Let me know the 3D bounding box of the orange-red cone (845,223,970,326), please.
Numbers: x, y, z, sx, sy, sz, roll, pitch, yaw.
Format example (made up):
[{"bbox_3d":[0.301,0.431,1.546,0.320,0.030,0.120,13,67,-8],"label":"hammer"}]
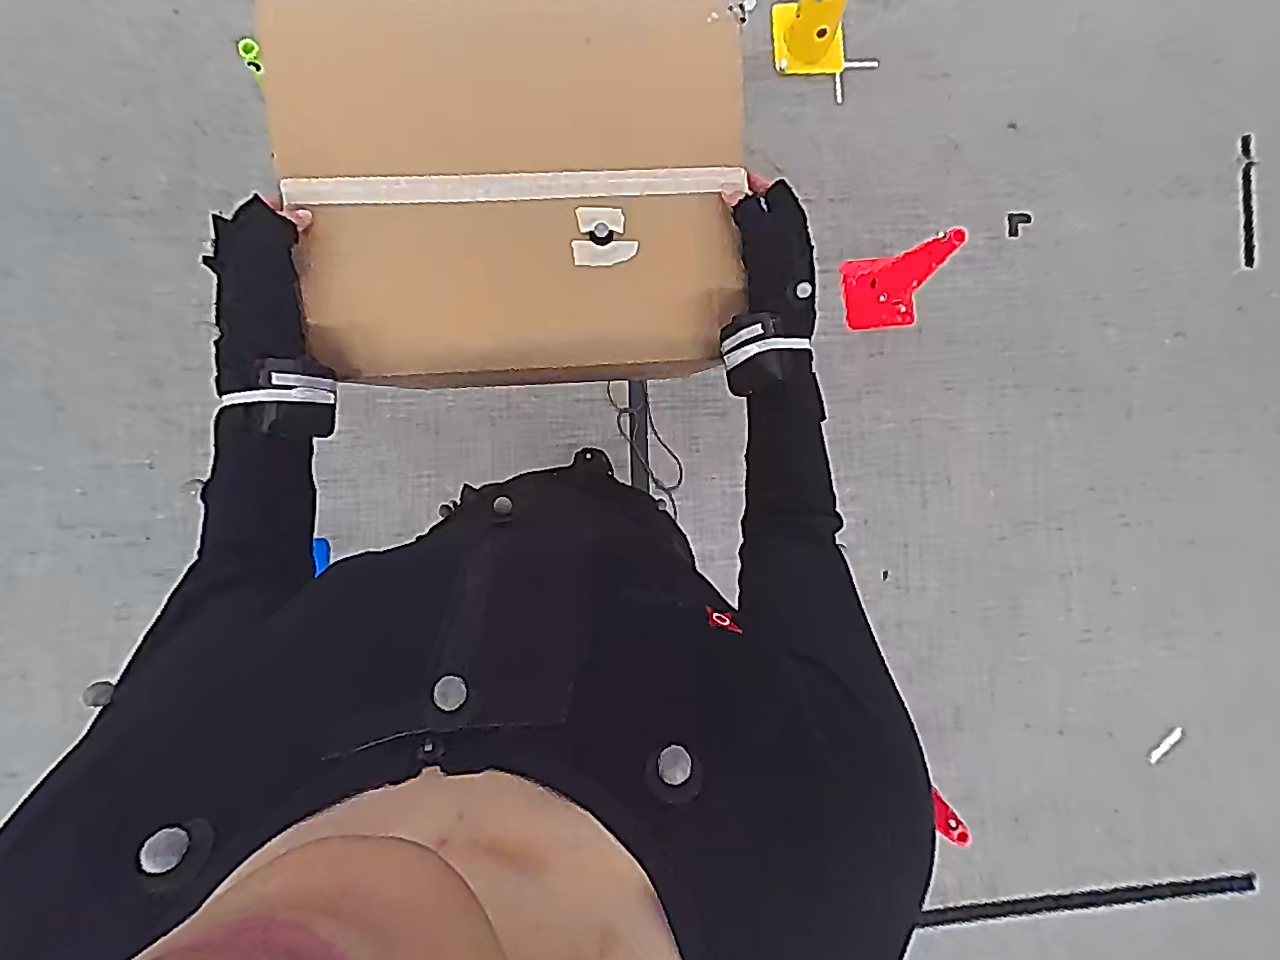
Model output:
[{"bbox_3d":[0.692,-0.540,1.357,0.198,0.360,0.199,-5,88,-4],"label":"orange-red cone"}]

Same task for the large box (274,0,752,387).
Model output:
[{"bbox_3d":[-0.116,-0.285,0.633,0.408,0.320,0.320,-4,98,-6],"label":"large box"}]
